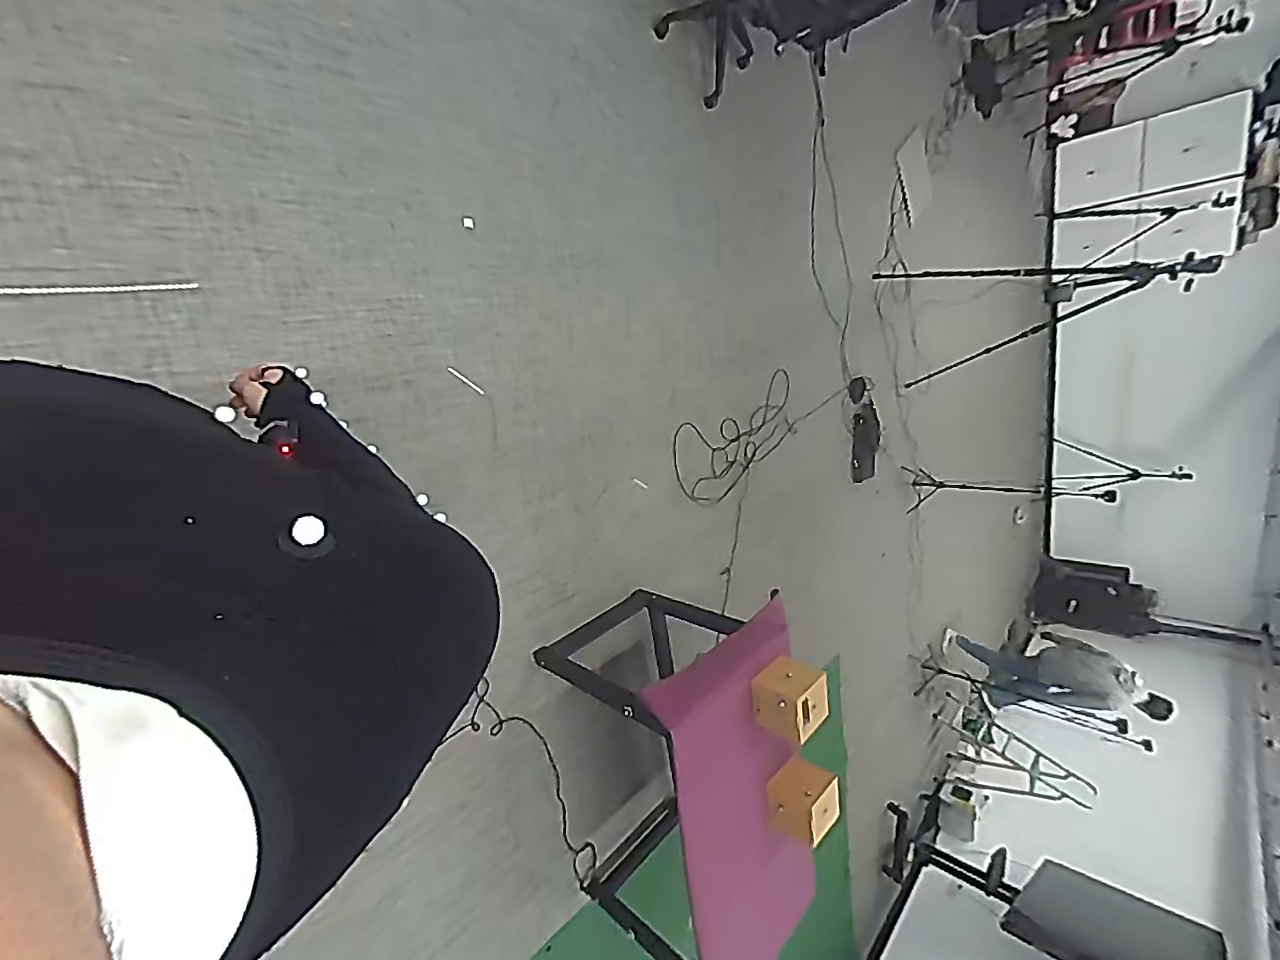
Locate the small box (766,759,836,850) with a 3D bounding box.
[{"bbox_3d":[0.553,1.104,1.859,0.179,0.176,0.168,-17,107,-39],"label":"small box"}]
